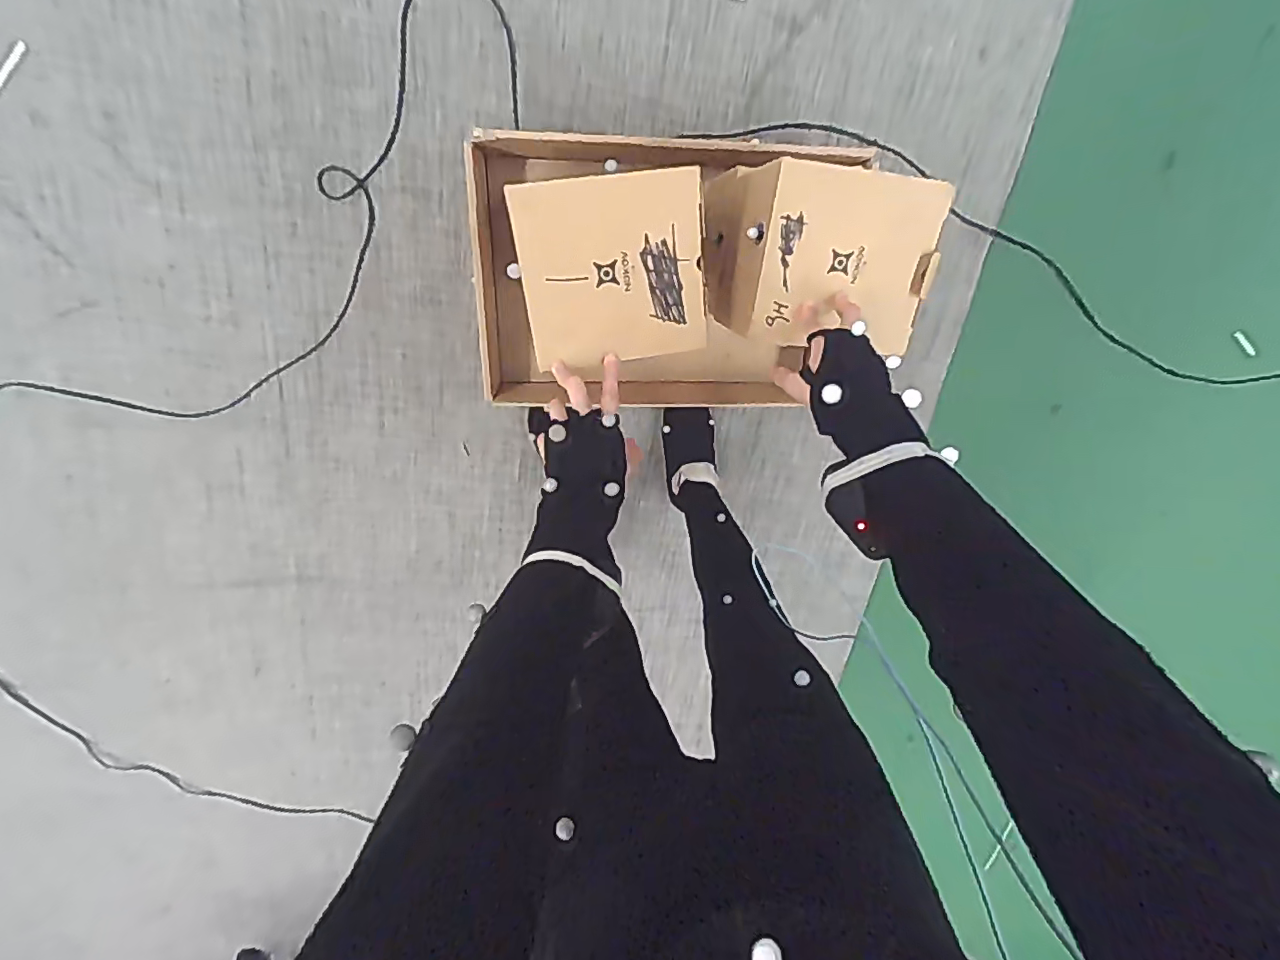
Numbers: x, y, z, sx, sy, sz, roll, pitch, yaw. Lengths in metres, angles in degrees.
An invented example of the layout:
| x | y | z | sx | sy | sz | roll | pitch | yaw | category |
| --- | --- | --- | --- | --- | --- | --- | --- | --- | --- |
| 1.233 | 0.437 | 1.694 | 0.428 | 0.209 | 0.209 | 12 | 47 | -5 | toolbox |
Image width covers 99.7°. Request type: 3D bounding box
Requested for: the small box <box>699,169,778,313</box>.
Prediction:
| x | y | z | sx | sy | sz | roll | pitch | yaw | category |
| --- | --- | --- | --- | --- | --- | --- | --- | --- | --- |
| 0.178 | -0.313 | 0.746 | 0.168 | 0.176 | 0.179 | 2 | 113 | -6 | small box |

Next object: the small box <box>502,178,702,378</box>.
| x | y | z | sx | sy | sz | roll | pitch | yaw | category |
| --- | --- | --- | --- | --- | --- | --- | --- | --- | --- |
| -0.042 | -0.220 | 0.579 | 0.179 | 0.176 | 0.168 | -9 | 115 | -6 | small box |

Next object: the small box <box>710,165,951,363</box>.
| x | y | z | sx | sy | sz | roll | pitch | yaw | category |
| --- | --- | --- | --- | --- | --- | --- | --- | --- | --- |
| 0.191 | -0.236 | 0.601 | 0.179 | 0.176 | 0.168 | 4 | 113 | -8 | small box |
